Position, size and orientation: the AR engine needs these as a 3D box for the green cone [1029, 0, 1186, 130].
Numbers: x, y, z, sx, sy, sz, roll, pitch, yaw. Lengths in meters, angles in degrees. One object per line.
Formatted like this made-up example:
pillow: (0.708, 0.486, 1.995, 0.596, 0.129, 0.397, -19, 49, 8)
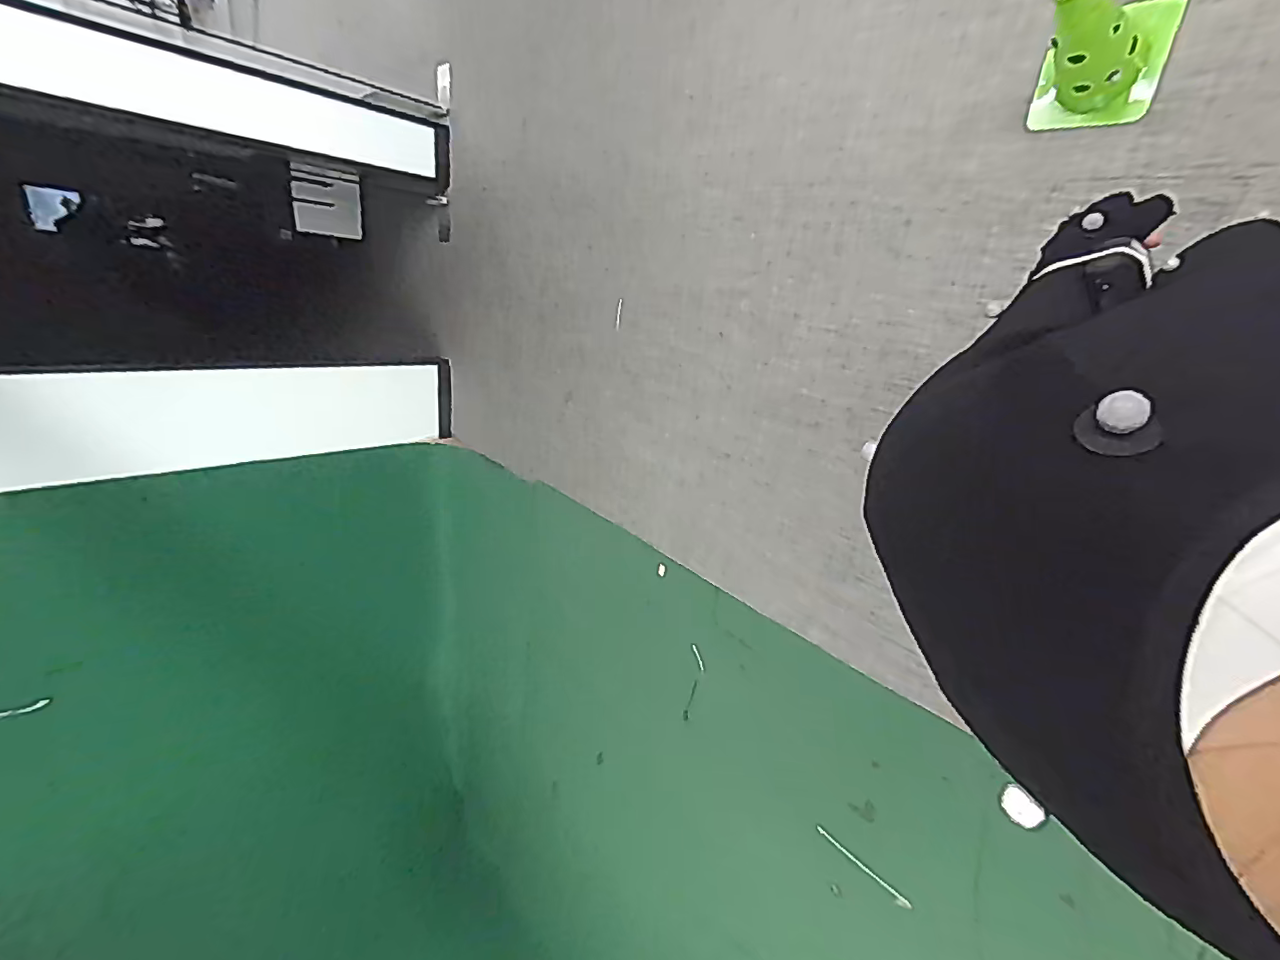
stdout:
green cone: (0.787, -0.780, 0.944, 0.202, 0.368, 0.200, 23, 116, 40)
